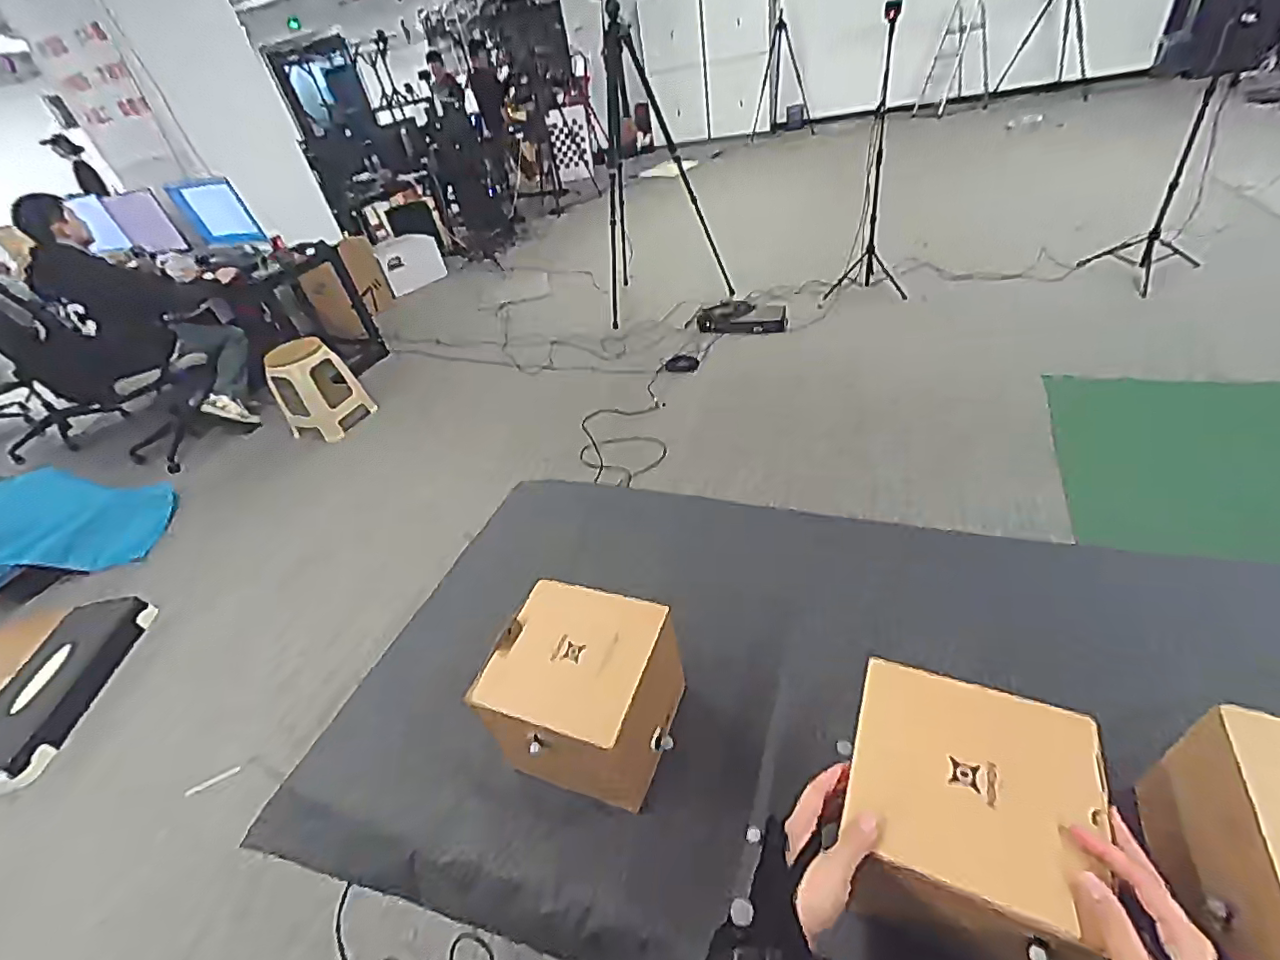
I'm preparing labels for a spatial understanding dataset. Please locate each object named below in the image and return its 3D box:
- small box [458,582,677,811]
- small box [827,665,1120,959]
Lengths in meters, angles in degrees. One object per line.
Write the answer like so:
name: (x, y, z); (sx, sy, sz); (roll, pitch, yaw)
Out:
small box: (-0.068, 0.247, 0.625); (0.179, 0.176, 0.168); (8, 43, 22)
small box: (0.268, 0.299, 0.471); (0.179, 0.176, 0.168); (10, 44, 25)
